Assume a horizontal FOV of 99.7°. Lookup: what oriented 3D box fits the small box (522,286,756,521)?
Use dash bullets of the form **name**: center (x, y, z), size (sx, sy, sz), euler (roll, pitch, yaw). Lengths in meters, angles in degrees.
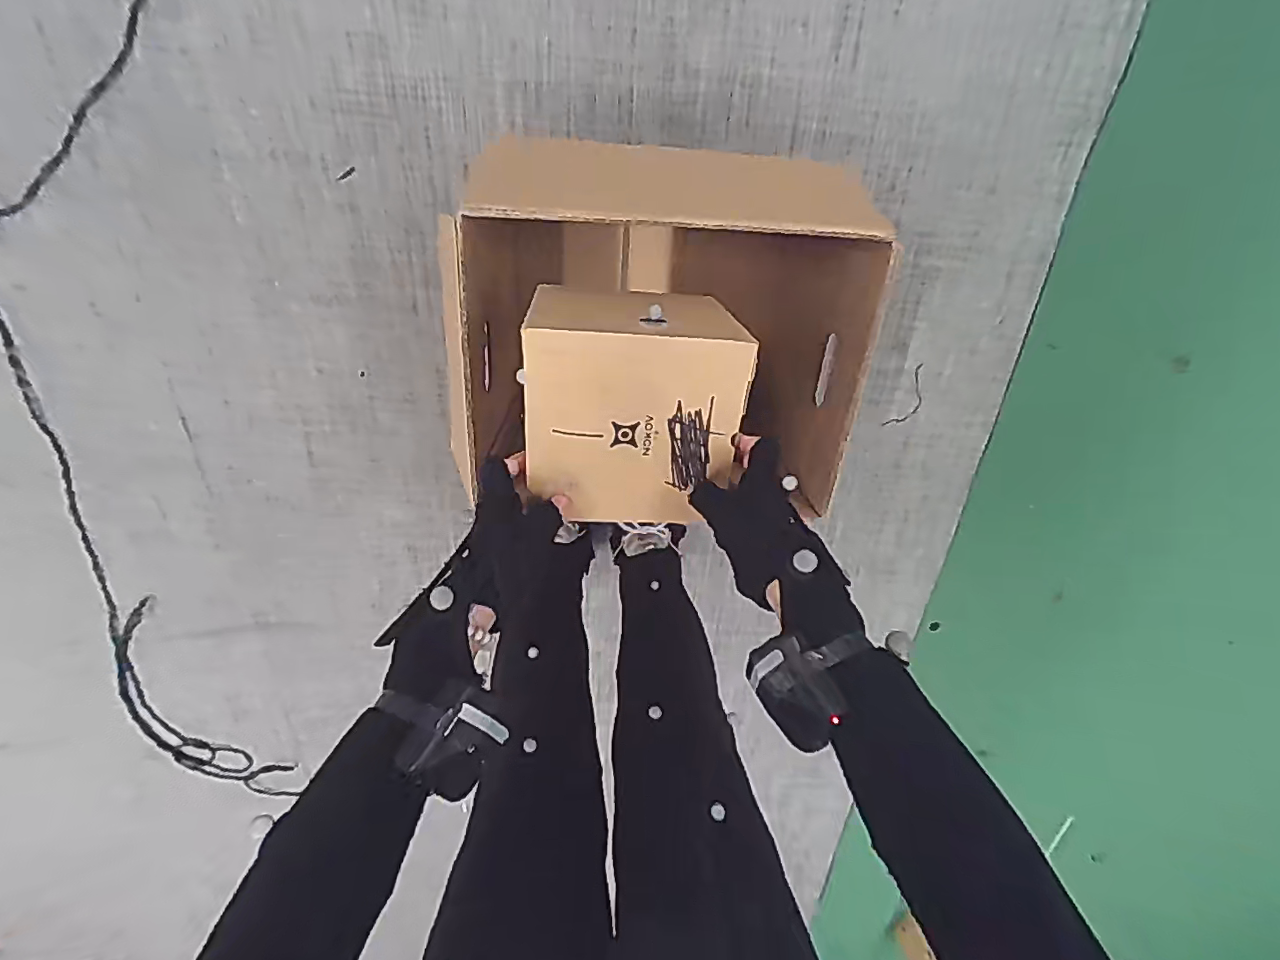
- **small box**: center (-0.013, -0.077, 0.501), size (0.179, 0.176, 0.168), euler (2, 119, -6)
